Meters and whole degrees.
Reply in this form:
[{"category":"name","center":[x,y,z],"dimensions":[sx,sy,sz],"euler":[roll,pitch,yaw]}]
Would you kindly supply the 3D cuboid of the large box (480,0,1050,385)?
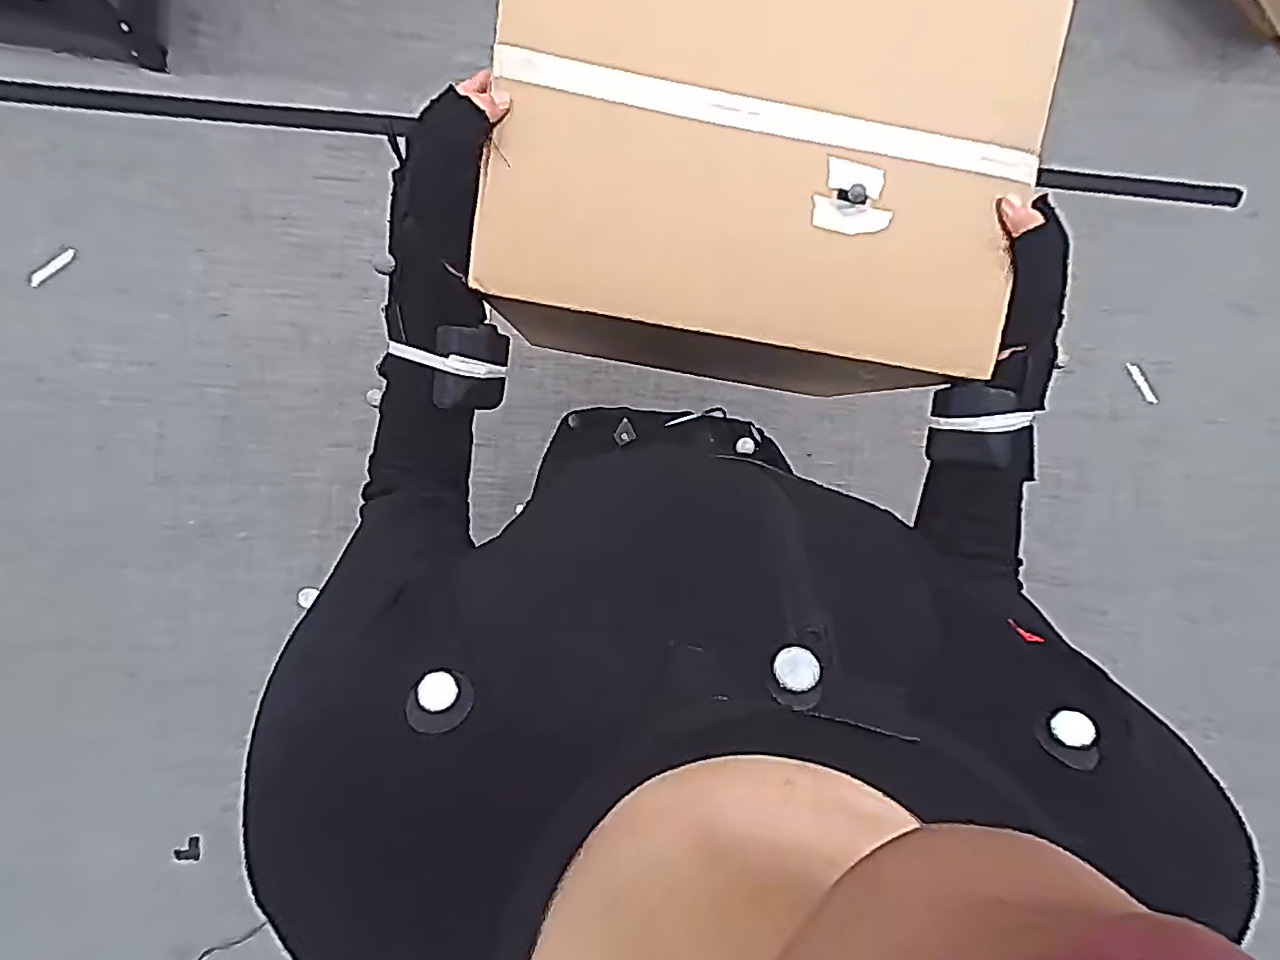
[{"category":"large box","center":[0.083,-0.286,0.550],"dimensions":[0.408,0.320,0.320],"euler":[9,97,-5]}]
